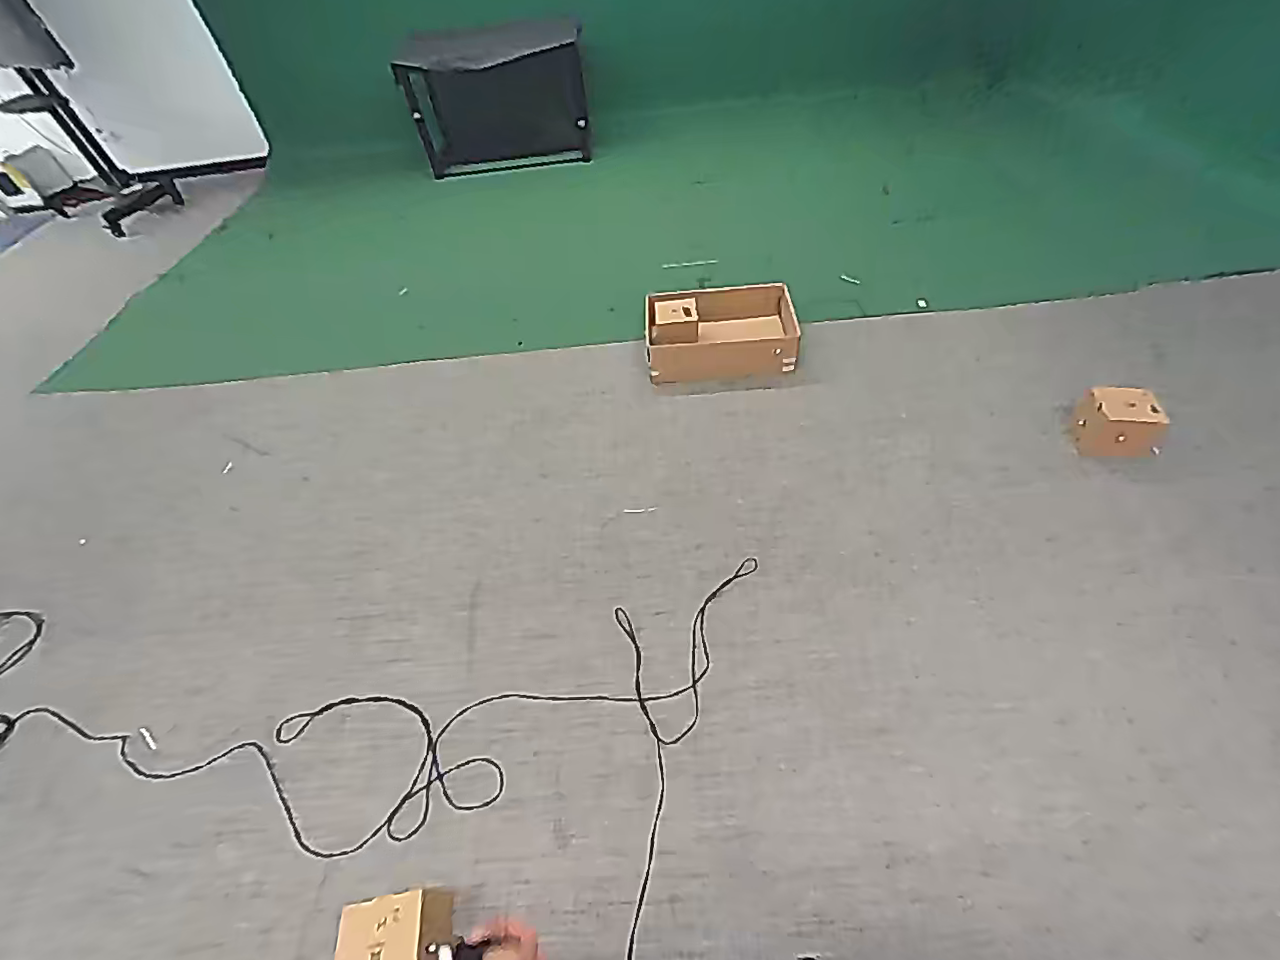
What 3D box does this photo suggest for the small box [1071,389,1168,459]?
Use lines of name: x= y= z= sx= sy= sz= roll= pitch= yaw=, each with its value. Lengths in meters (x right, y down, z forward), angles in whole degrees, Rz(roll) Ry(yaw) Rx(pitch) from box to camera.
small box: x=1.586 y=-0.185 z=1.809 sx=0.179 sy=0.176 sz=0.168 roll=4 pitch=50 yaw=12

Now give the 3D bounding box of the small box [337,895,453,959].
small box: x=-0.488 y=0.963 z=1.089 sx=0.168 sy=0.176 sz=0.179 roll=-11 pitch=48 yaw=-2

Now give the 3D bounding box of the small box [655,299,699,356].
small box: x=0.158 y=-0.650 z=2.314 sx=0.179 sy=0.176 sz=0.168 roll=-4 pitch=50 yaw=4
